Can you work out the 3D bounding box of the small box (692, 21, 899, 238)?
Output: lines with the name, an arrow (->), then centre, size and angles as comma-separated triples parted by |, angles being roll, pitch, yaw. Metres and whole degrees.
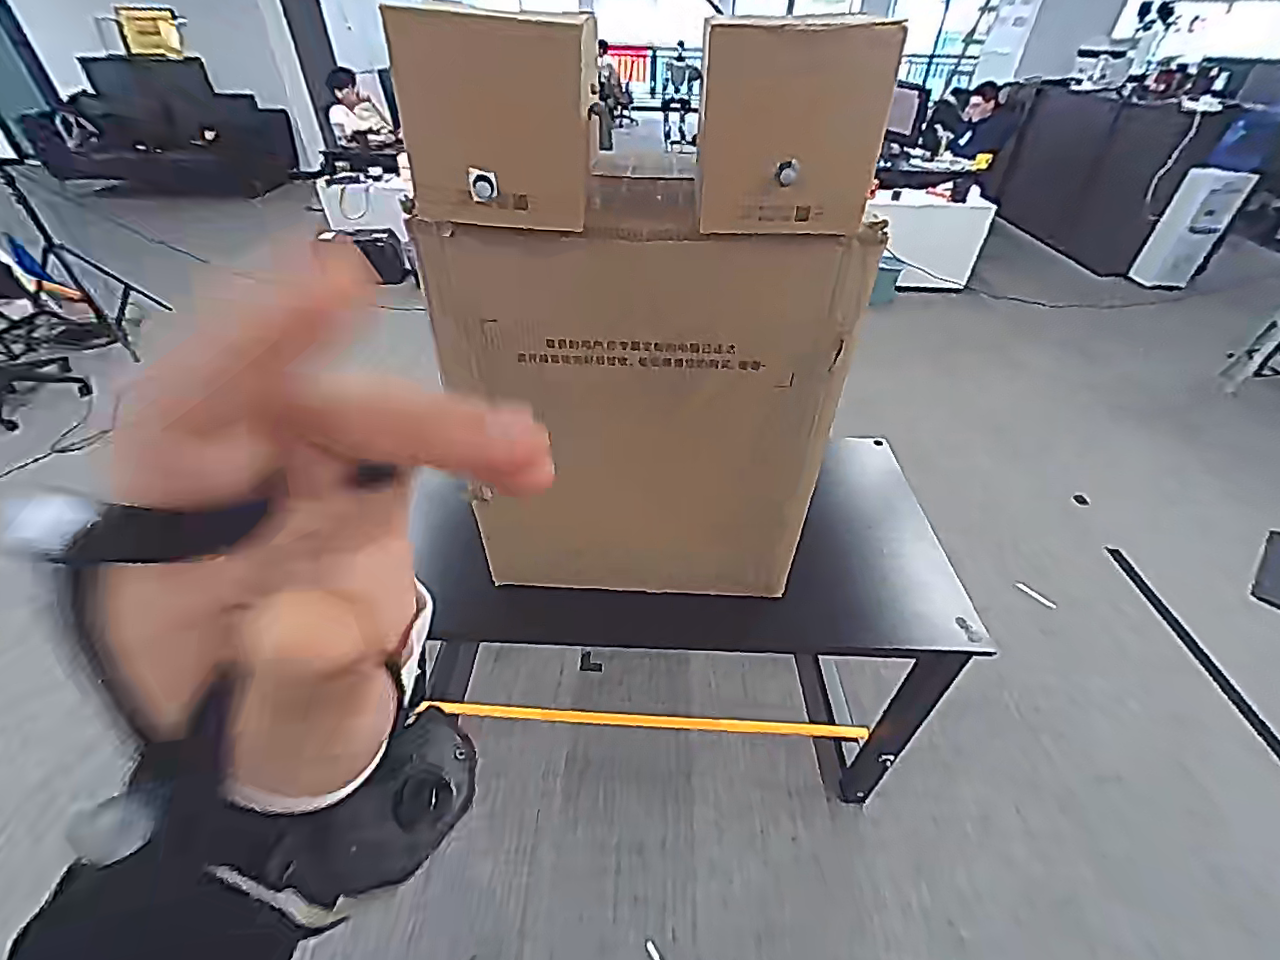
small box -> 0.141, -0.371, 0.570 | 0.168, 0.176, 0.179 | 1, 42, 3
